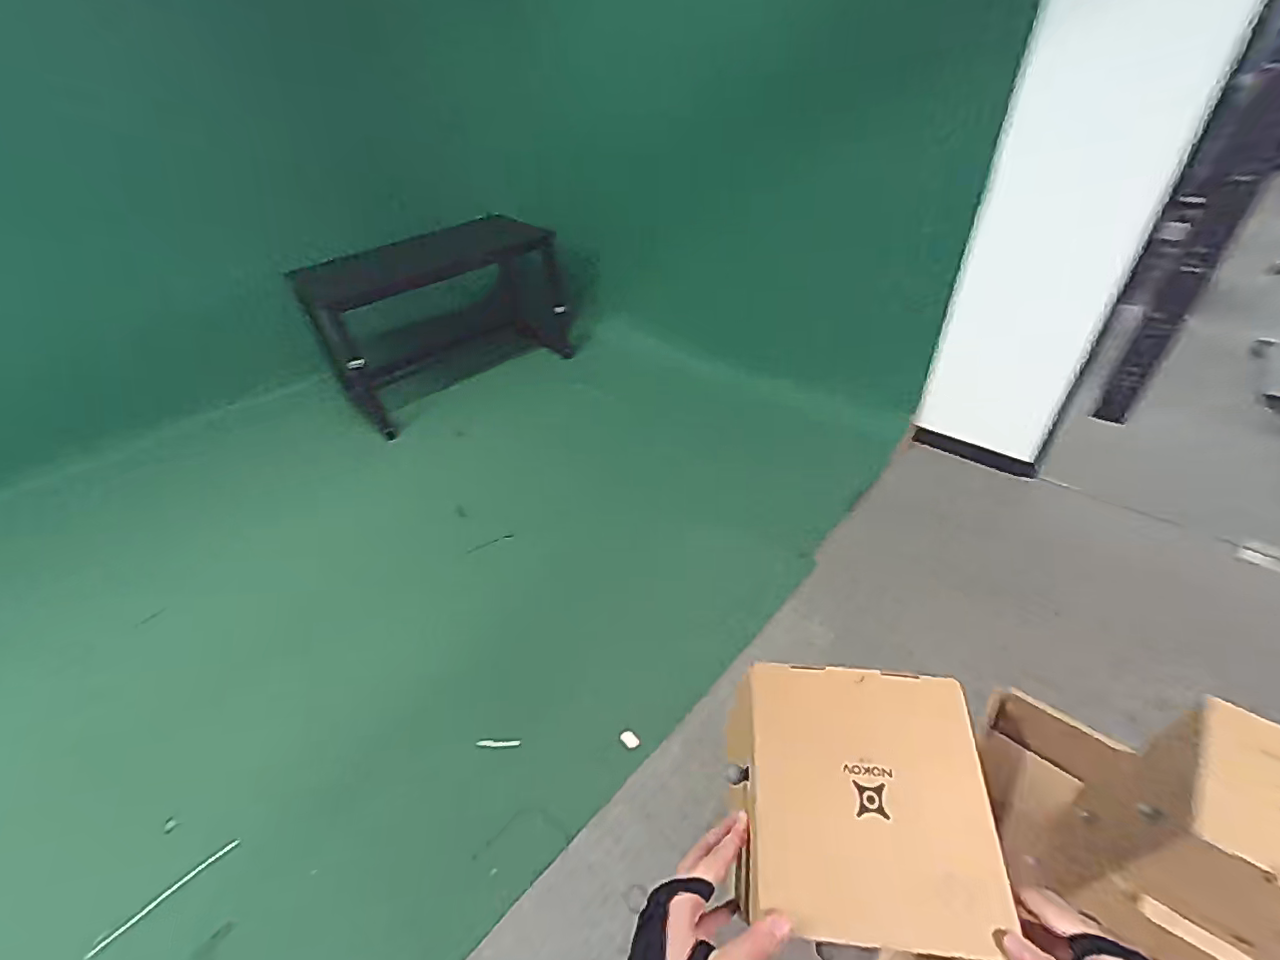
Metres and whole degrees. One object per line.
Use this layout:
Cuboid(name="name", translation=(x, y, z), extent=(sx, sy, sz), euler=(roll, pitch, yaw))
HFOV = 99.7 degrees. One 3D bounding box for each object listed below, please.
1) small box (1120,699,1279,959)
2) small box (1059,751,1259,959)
Cuboid(name="small box", translation=(0.663, 0.384, 0.580), extent=(0.168, 0.176, 0.179), euler=(27, 53, 32))
Cuboid(name="small box", translation=(0.675, 0.501, 0.694), extent=(0.168, 0.176, 0.179), euler=(24, 51, 30))
